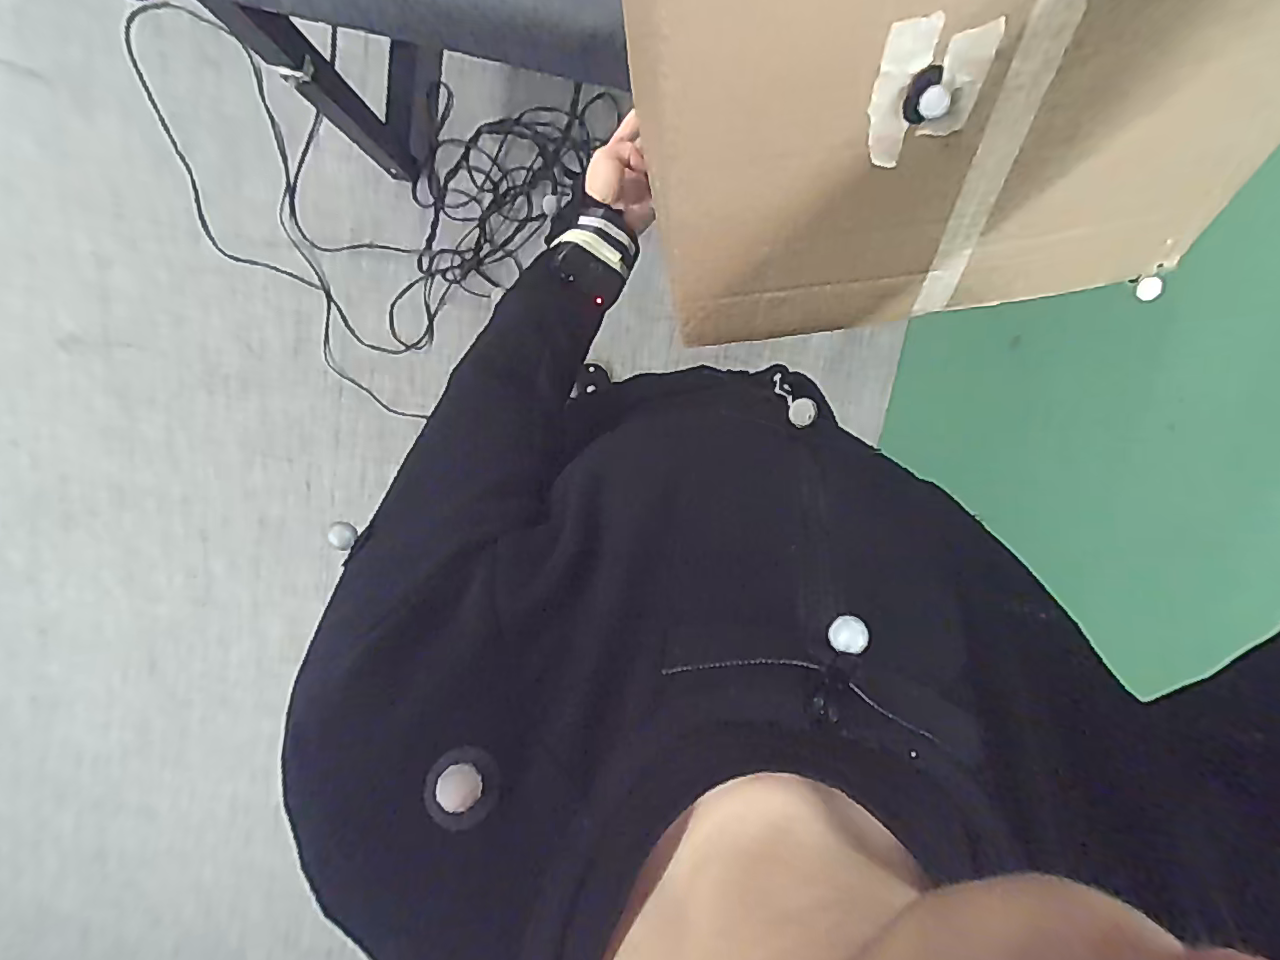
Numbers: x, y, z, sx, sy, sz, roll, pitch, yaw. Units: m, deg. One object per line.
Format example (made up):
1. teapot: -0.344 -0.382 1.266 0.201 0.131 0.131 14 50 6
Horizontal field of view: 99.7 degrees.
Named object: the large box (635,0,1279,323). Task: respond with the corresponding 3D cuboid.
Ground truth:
1. large box: 0.148 -0.357 0.268 0.320 0.408 0.320 -9 60 3
